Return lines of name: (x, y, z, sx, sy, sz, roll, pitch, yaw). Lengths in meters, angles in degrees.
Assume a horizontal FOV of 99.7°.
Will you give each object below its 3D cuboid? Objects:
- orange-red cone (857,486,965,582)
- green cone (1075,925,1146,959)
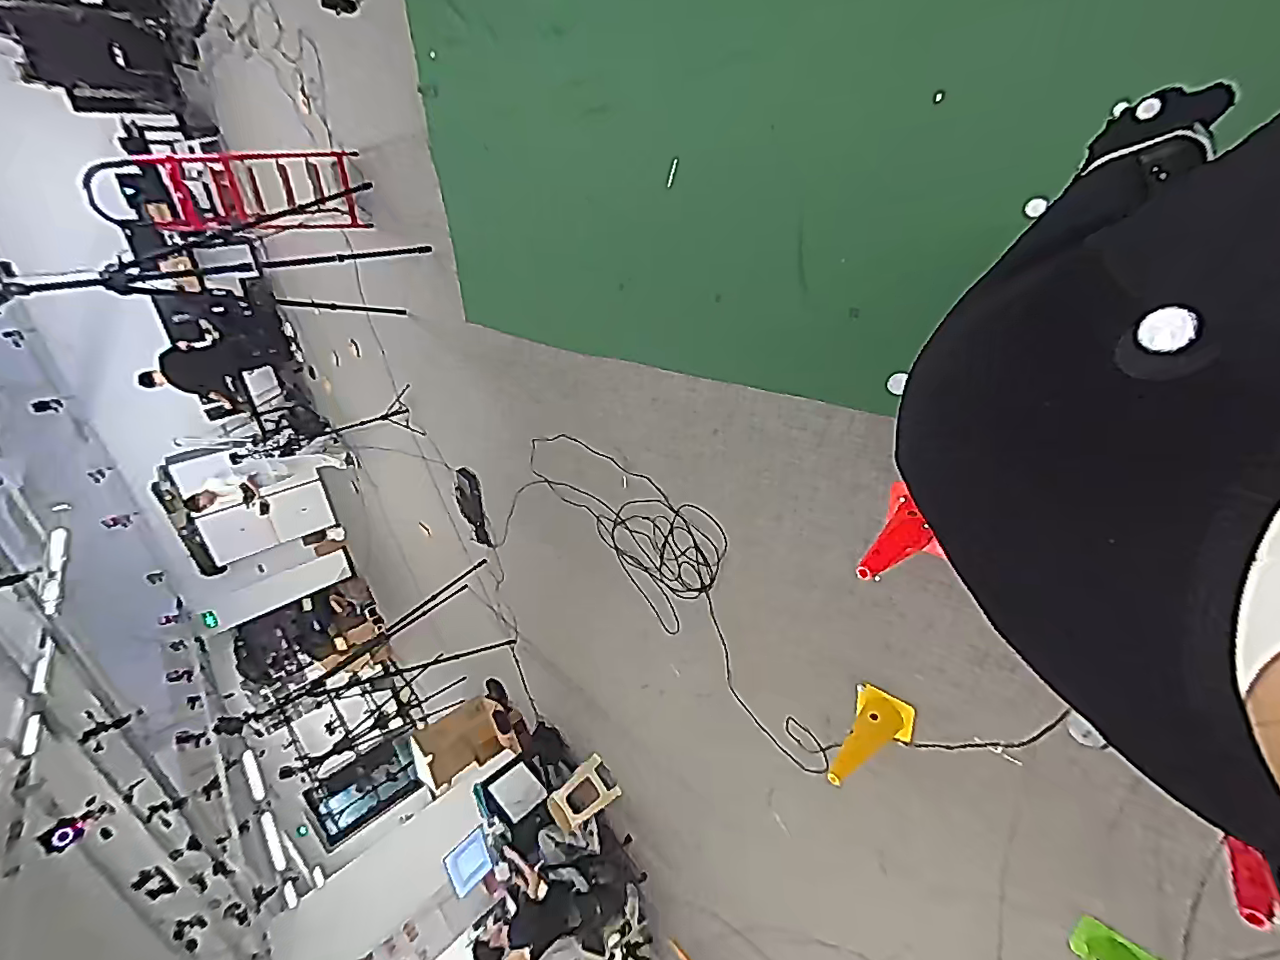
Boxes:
orange-red cone: (0.707, 0.187, 1.486, 0.198, 0.360, 0.199, 24, 129, 43)
green cone: (1.309, 1.510, 1.511, 0.202, 0.368, 0.200, 22, 126, 44)
